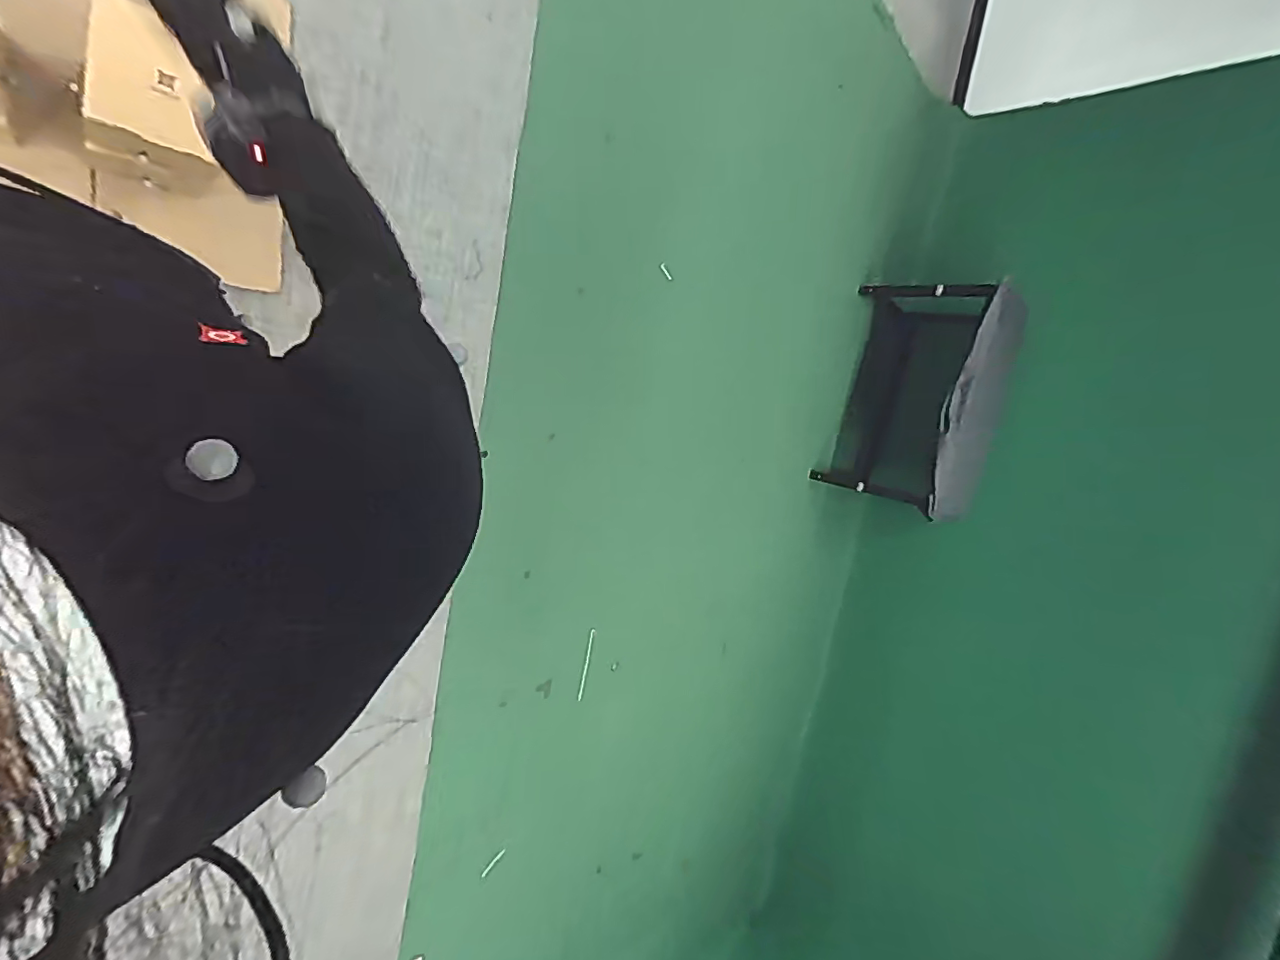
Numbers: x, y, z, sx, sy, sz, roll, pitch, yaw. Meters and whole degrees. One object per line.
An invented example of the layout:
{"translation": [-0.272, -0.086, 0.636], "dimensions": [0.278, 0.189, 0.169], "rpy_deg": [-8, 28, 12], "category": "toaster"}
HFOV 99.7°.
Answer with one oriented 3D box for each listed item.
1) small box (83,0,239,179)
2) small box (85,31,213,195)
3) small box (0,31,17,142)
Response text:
{"translation": [-0.762, -0.610, 0.858], "dimensions": [0.168, 0.176, 0.179], "rpy_deg": [3, 101, -46], "category": "small box"}
{"translation": [-0.877, -0.639, 0.969], "dimensions": [0.168, 0.176, 0.179], "rpy_deg": [-1, 104, -44], "category": "small box"}
{"translation": [-1.052, -0.625, 0.789], "dimensions": [0.168, 0.176, 0.179], "rpy_deg": [-7, 107, -44], "category": "small box"}
